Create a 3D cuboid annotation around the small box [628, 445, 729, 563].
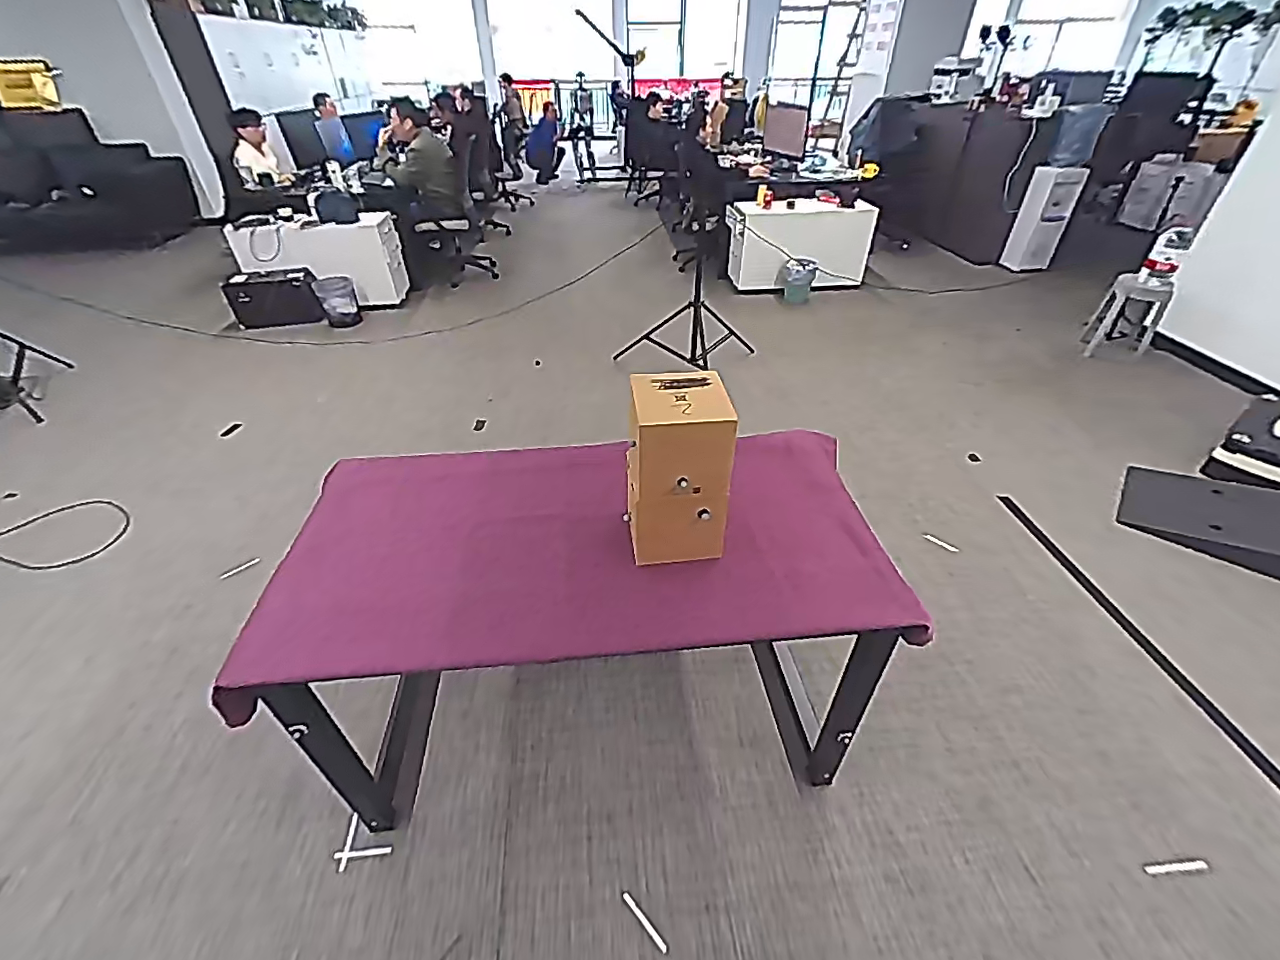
[{"bbox_3d":[0.070,0.048,1.093,0.179,0.176,0.168,-5,38,-5],"label":"small box"}]
